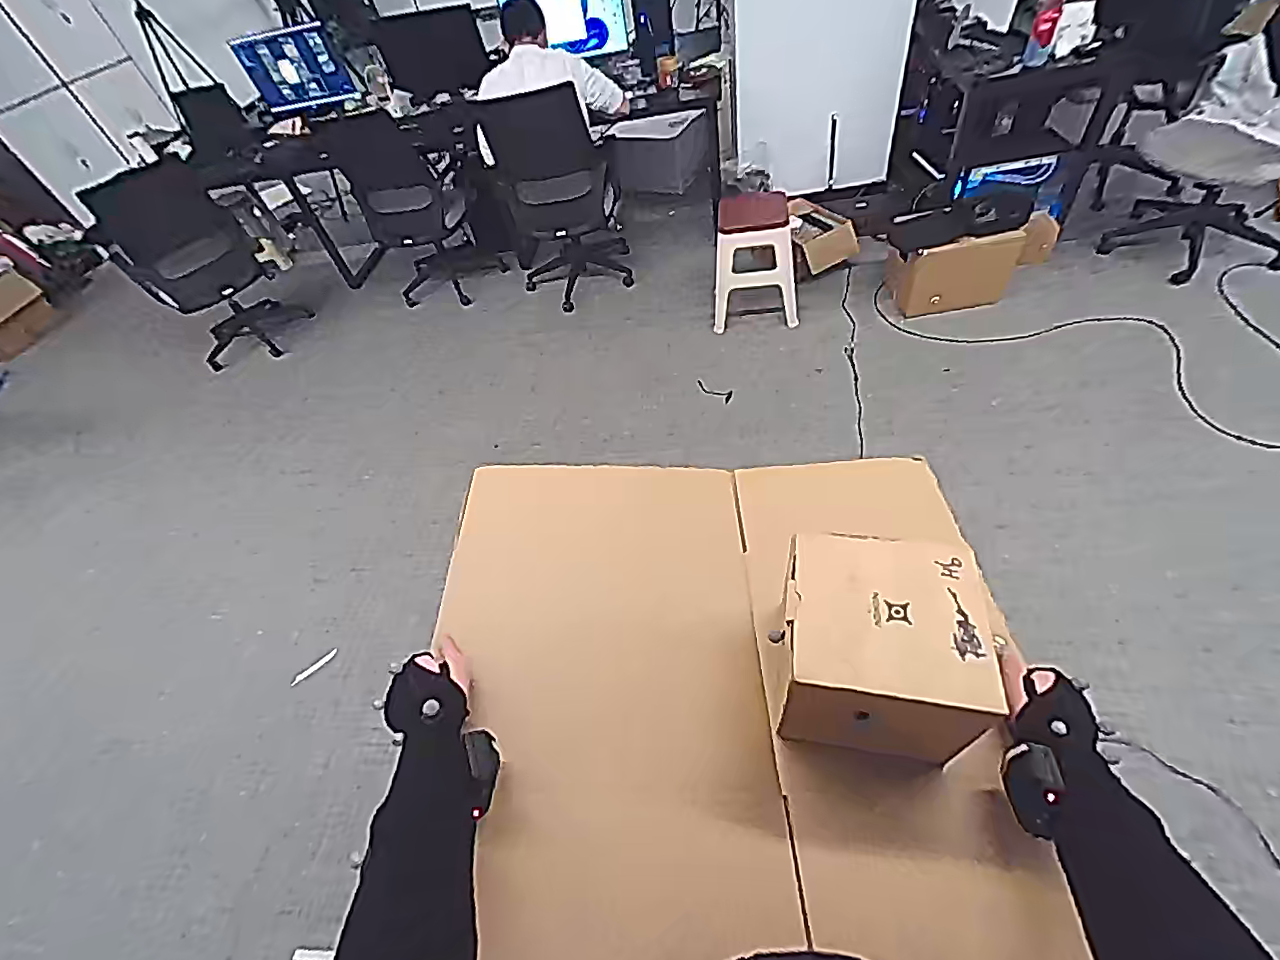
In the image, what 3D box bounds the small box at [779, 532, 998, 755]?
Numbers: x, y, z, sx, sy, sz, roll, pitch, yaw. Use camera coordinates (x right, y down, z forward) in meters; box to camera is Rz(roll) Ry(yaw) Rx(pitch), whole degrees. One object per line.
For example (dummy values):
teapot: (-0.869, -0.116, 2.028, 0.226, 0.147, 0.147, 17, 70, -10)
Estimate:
small box: (0.245, 0.176, 0.580, 0.179, 0.176, 0.168, 4, 51, 13)
